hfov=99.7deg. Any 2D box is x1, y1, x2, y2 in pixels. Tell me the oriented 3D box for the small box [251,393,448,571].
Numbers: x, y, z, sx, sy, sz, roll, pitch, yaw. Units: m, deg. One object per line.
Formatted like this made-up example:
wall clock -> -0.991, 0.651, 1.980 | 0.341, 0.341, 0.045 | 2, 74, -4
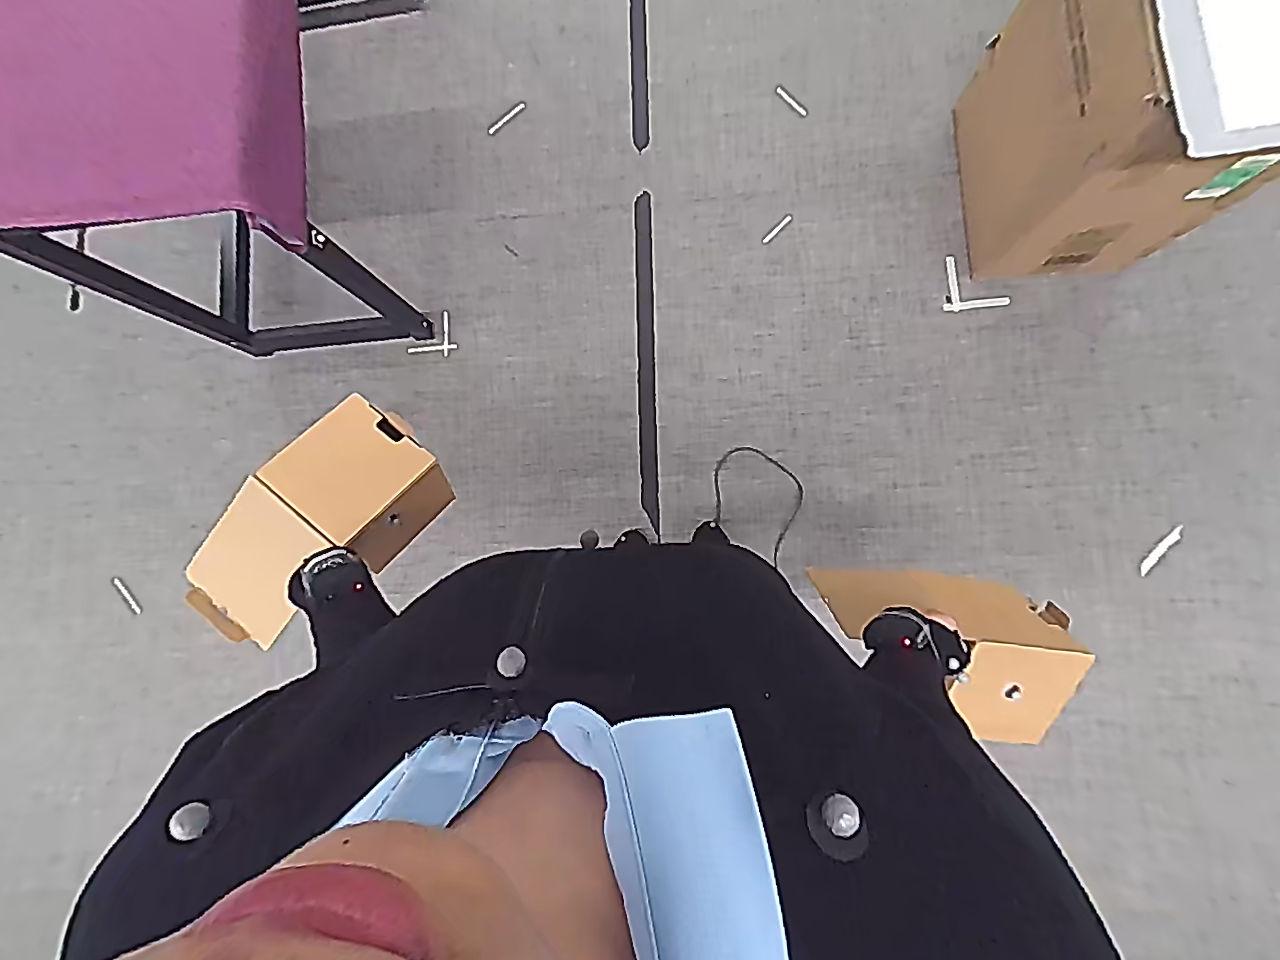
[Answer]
small box -> -0.414, 0.012, 0.809 | 0.168, 0.176, 0.179 | 39, 67, 6
